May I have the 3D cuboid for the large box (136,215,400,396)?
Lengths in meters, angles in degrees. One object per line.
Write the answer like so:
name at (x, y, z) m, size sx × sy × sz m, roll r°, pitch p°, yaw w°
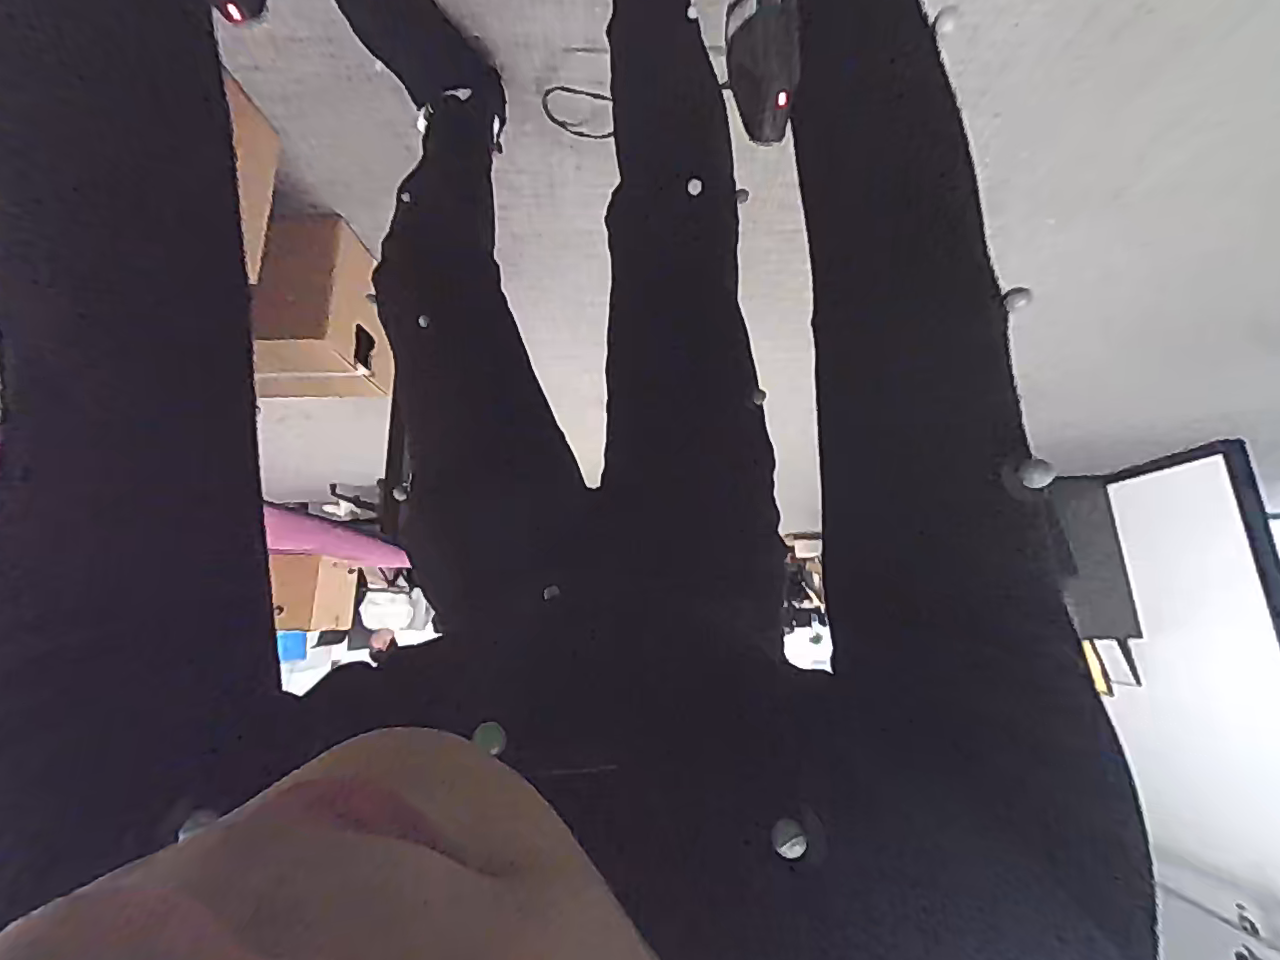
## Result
large box at (-0.854, -0.403, 1.302) m, size 0.408 × 0.320 × 0.320 m, roll 0°, pitch 166°, yaw 1°

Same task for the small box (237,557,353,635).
small box at (-0.792, 0.268, 1.254) m, size 0.179 × 0.176 × 0.168 m, roll 0°, pitch 166°, yaw 2°
